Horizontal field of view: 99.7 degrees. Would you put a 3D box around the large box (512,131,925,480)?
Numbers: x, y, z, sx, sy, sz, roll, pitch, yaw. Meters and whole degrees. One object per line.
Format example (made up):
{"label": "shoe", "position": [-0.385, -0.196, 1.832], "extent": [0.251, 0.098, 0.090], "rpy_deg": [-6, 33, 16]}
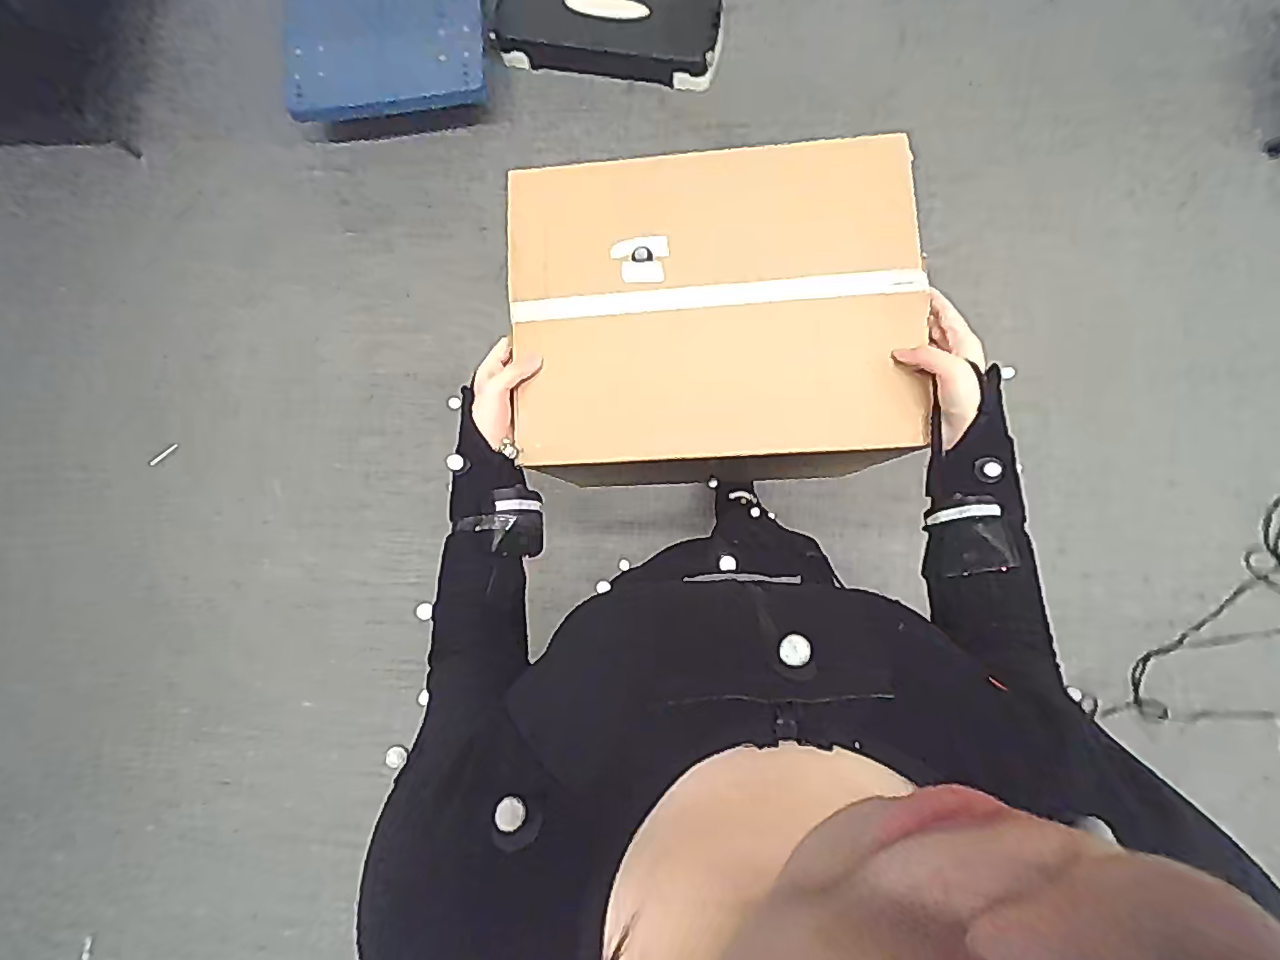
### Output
{"label": "large box", "position": [0.085, -0.174, 0.695], "extent": [0.408, 0.320, 0.320], "rpy_deg": [-4, 84, 6]}
